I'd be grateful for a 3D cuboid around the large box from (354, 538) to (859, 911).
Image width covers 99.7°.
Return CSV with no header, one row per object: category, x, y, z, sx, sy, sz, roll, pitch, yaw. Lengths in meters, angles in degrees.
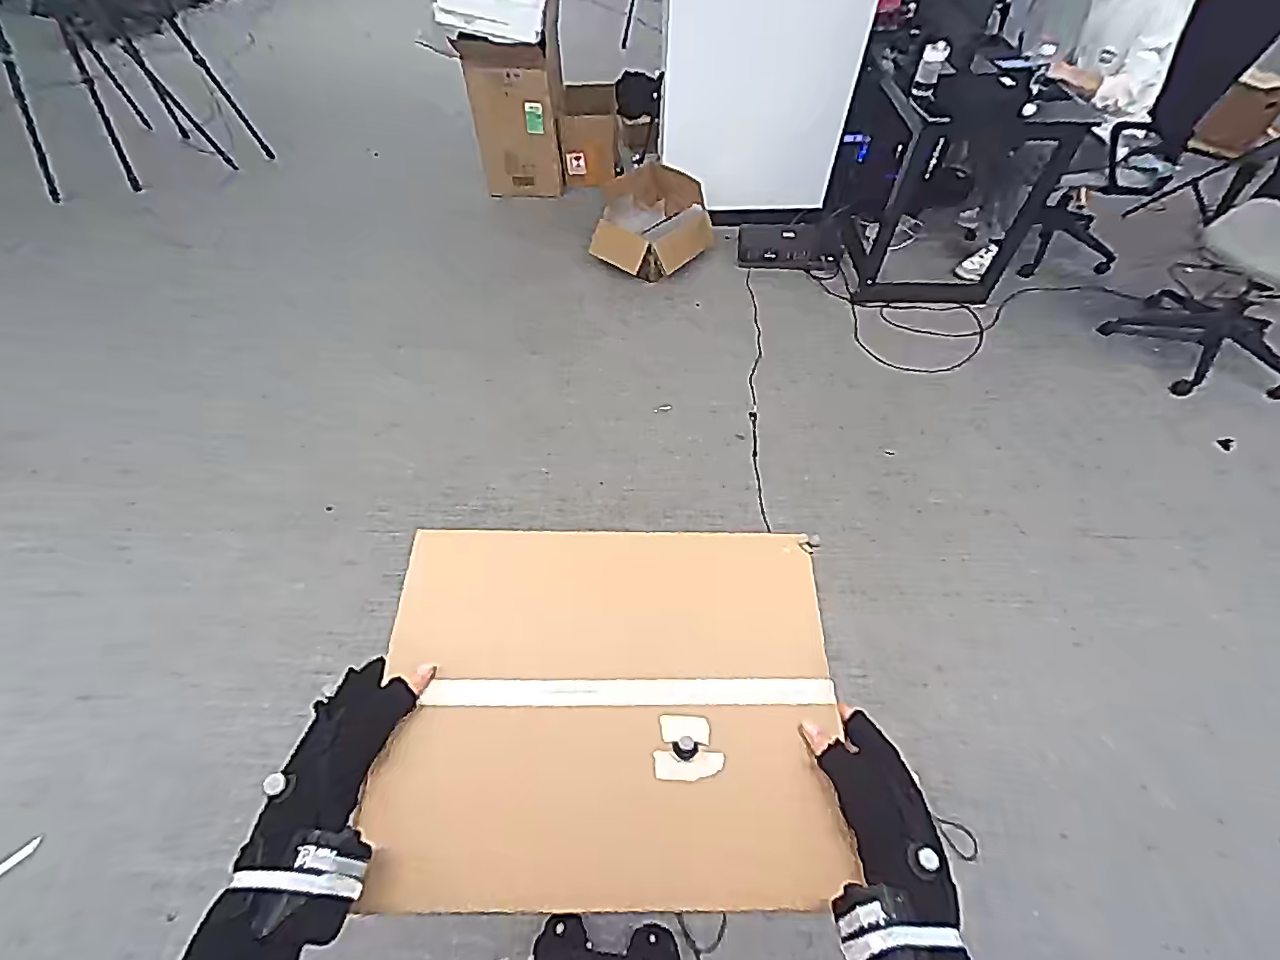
large box,-0.030,0.271,0.622,0.408,0.320,0.320,1,60,-2
